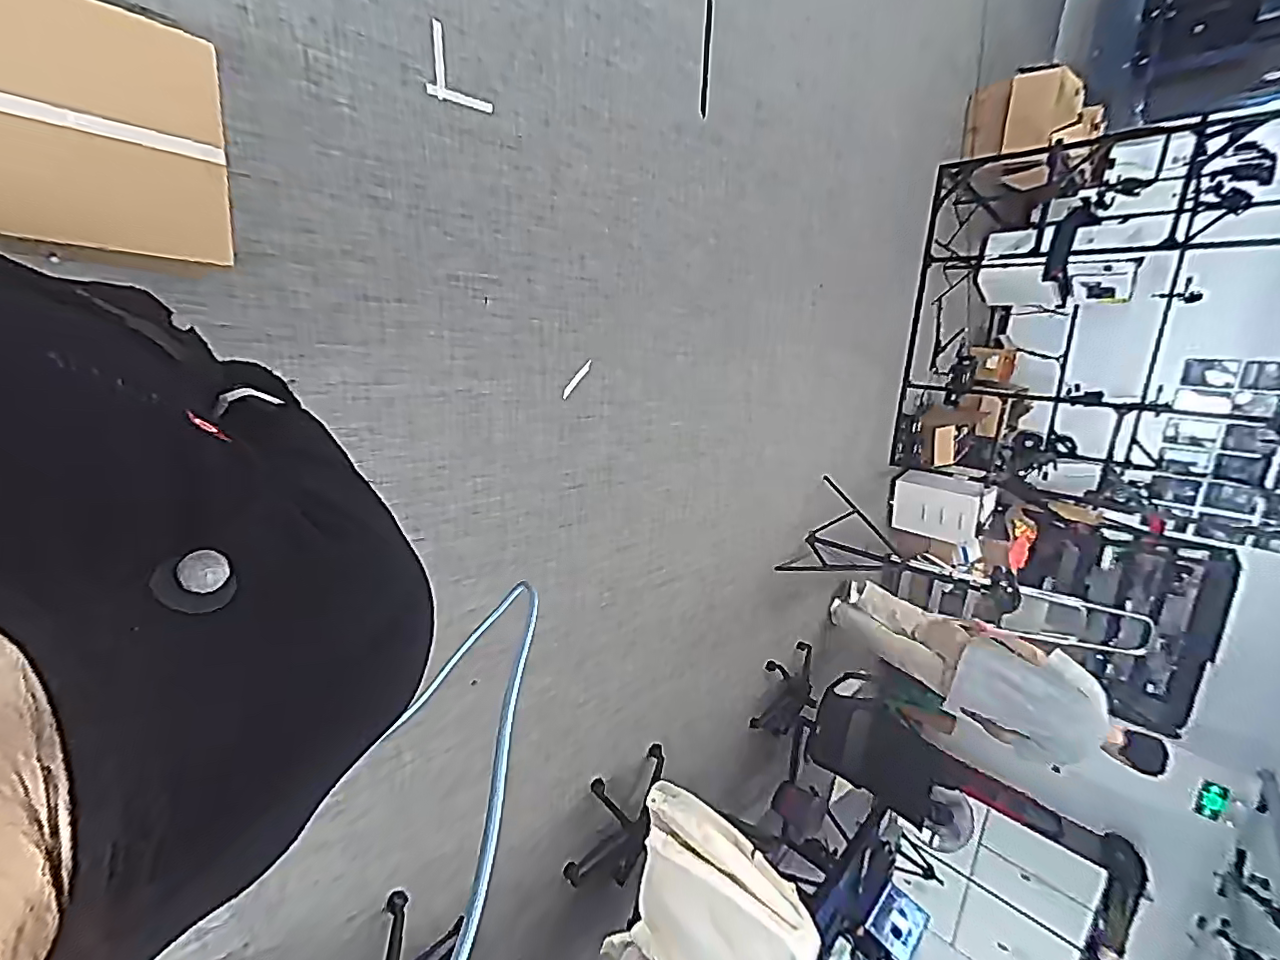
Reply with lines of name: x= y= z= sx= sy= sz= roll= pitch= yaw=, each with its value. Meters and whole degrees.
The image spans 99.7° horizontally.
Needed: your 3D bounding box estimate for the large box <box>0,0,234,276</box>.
large box: x=-0.885 y=-0.492 z=0.788 sx=0.408 sy=0.320 sz=0.320 roll=-9 pitch=109 yaw=-45
